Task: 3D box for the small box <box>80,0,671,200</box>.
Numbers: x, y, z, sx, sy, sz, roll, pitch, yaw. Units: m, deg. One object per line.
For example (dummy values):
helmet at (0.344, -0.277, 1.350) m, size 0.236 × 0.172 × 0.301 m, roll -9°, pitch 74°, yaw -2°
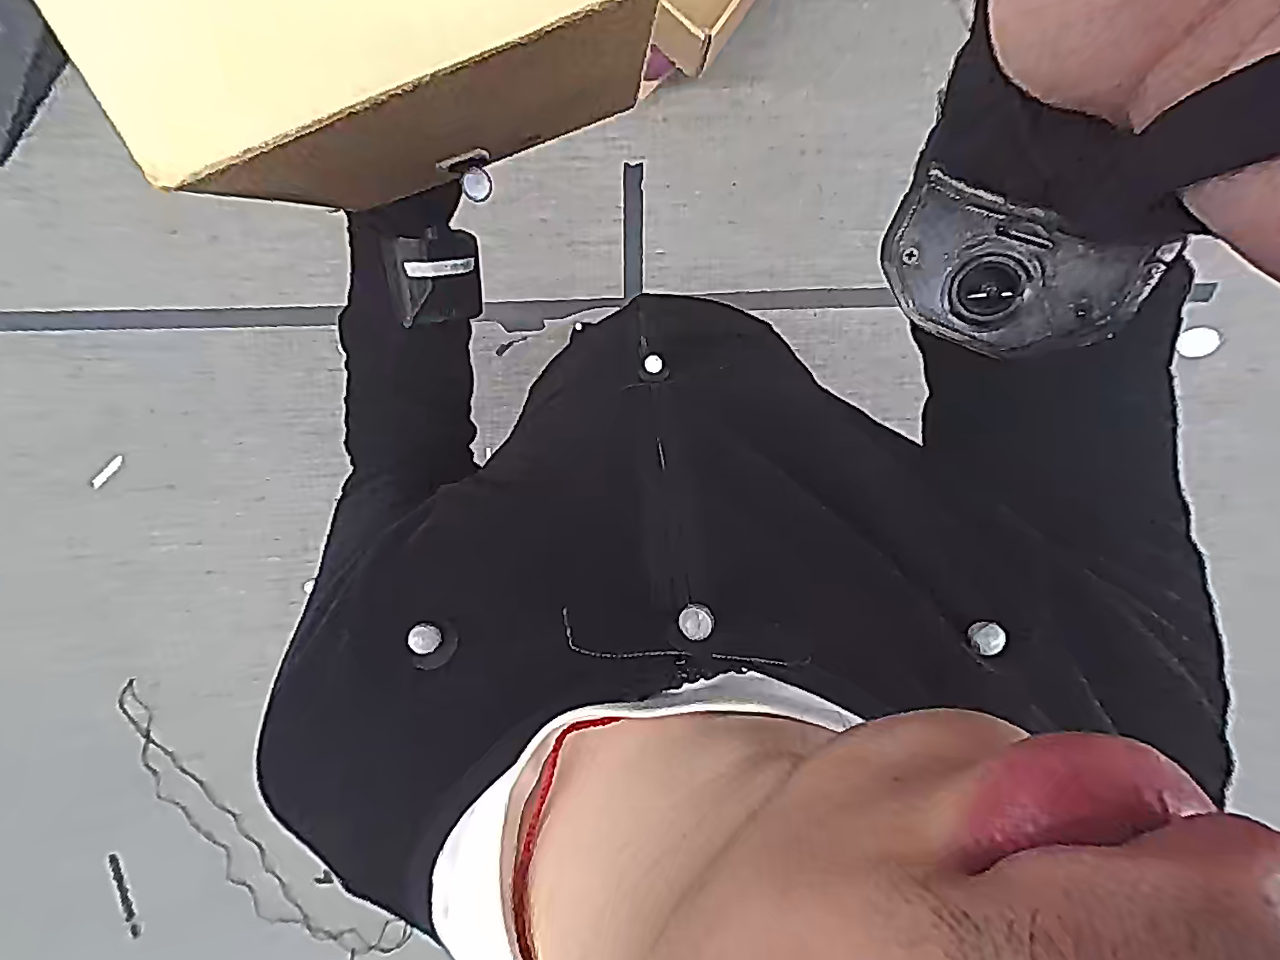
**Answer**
small box at (-0.097, -0.227, 0.205) m, size 0.168 × 0.176 × 0.179 m, roll -18°, pitch 115°, yaw 5°
